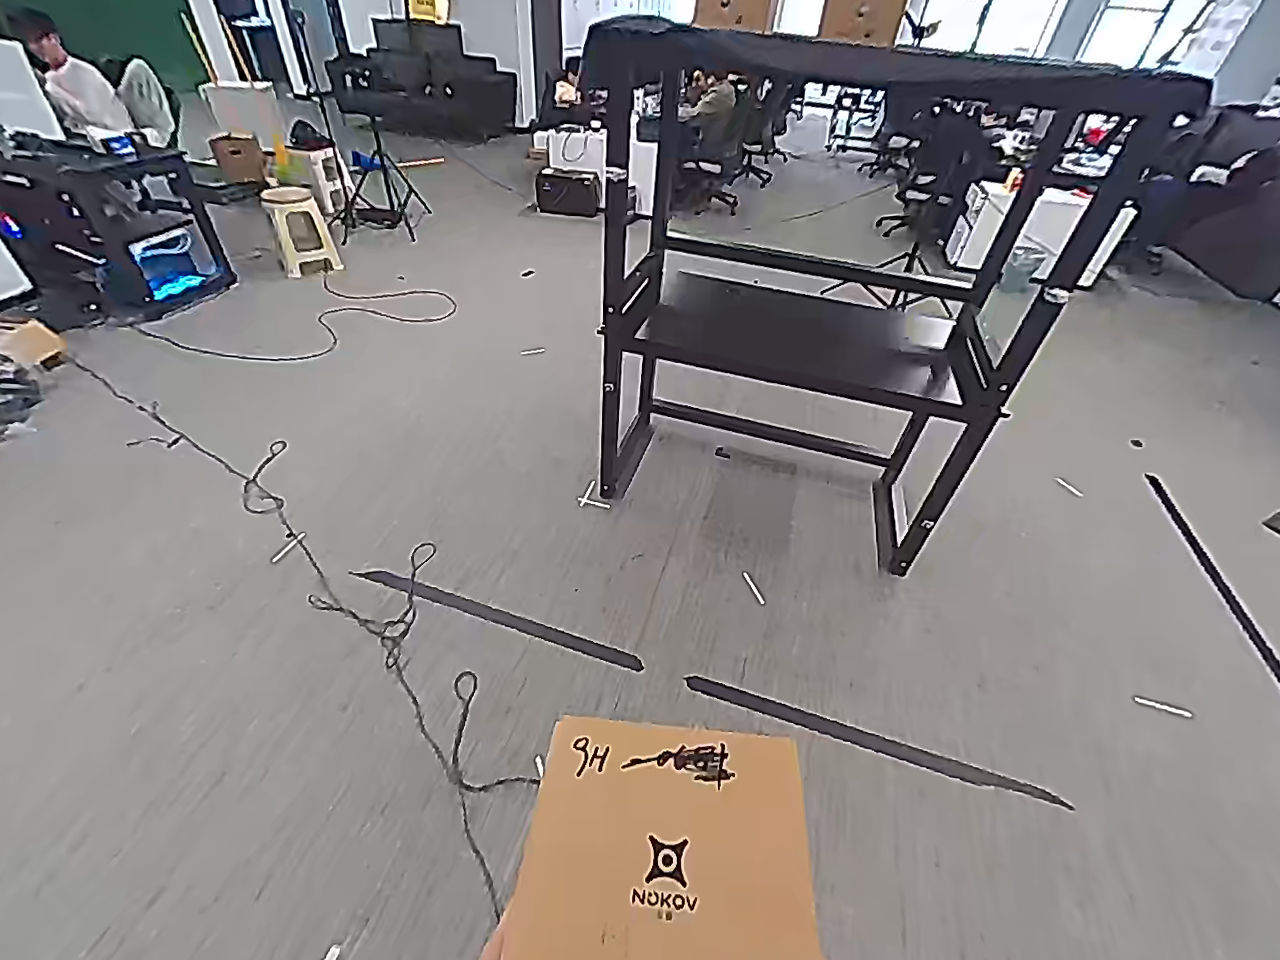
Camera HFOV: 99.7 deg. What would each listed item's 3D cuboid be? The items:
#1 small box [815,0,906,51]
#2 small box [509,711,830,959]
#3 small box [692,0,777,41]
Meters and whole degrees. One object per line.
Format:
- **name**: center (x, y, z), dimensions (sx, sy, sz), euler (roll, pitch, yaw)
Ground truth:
- **small box**: center (0.481, -1.034, 1.155), dimensions (0.168, 0.176, 0.179), euler (14, 40, 11)
- **small box**: center (0.020, 0.280, 0.352), dimensions (0.168, 0.176, 0.179), euler (4, 41, 5)
- **small box**: center (0.220, -1.098, 1.205), dimensions (0.168, 0.176, 0.179), euler (14, 41, 9)
